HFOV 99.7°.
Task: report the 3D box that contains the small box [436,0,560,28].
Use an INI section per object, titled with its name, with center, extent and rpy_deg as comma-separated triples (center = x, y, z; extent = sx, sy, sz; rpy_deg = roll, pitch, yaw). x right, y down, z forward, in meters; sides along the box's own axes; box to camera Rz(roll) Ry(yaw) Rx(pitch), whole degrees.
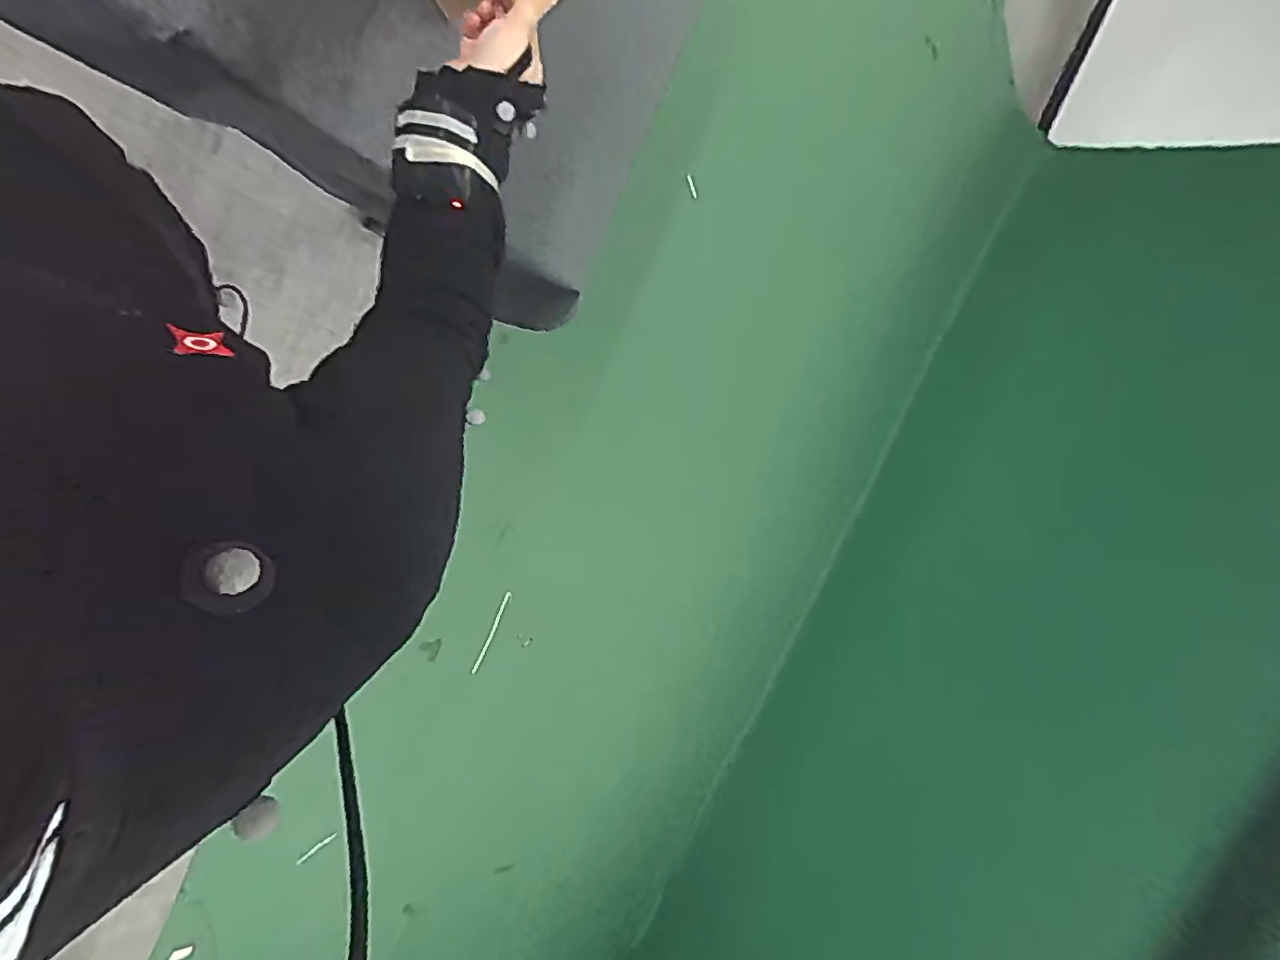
[small box]
center = -0.116, -0.499, 0.421
extent = 0.179, 0.176, 0.168
rpy_deg = -49, 144, -1
